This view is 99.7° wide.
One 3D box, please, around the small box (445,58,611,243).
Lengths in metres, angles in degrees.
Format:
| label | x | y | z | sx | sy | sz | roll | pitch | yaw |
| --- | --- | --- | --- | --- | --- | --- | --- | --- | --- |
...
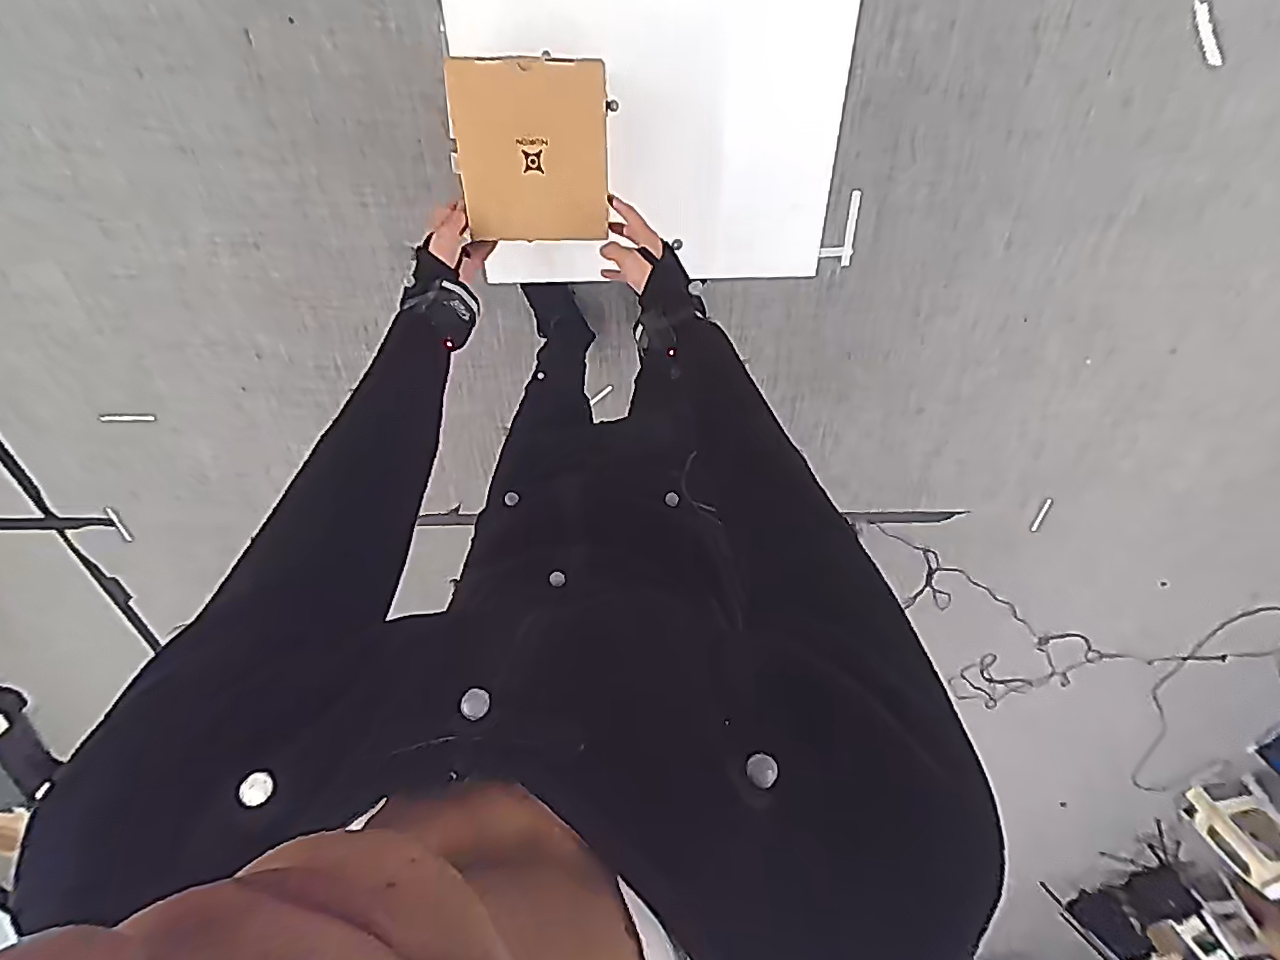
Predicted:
| label | x | y | z | sx | sy | sz | roll | pitch | yaw |
| --- | --- | --- | --- | --- | --- | --- | --- | --- | --- |
| small box | -0.121 | -0.401 | 0.663 | 0.168 | 0.176 | 0.179 | -1 | 124 | -2 |
